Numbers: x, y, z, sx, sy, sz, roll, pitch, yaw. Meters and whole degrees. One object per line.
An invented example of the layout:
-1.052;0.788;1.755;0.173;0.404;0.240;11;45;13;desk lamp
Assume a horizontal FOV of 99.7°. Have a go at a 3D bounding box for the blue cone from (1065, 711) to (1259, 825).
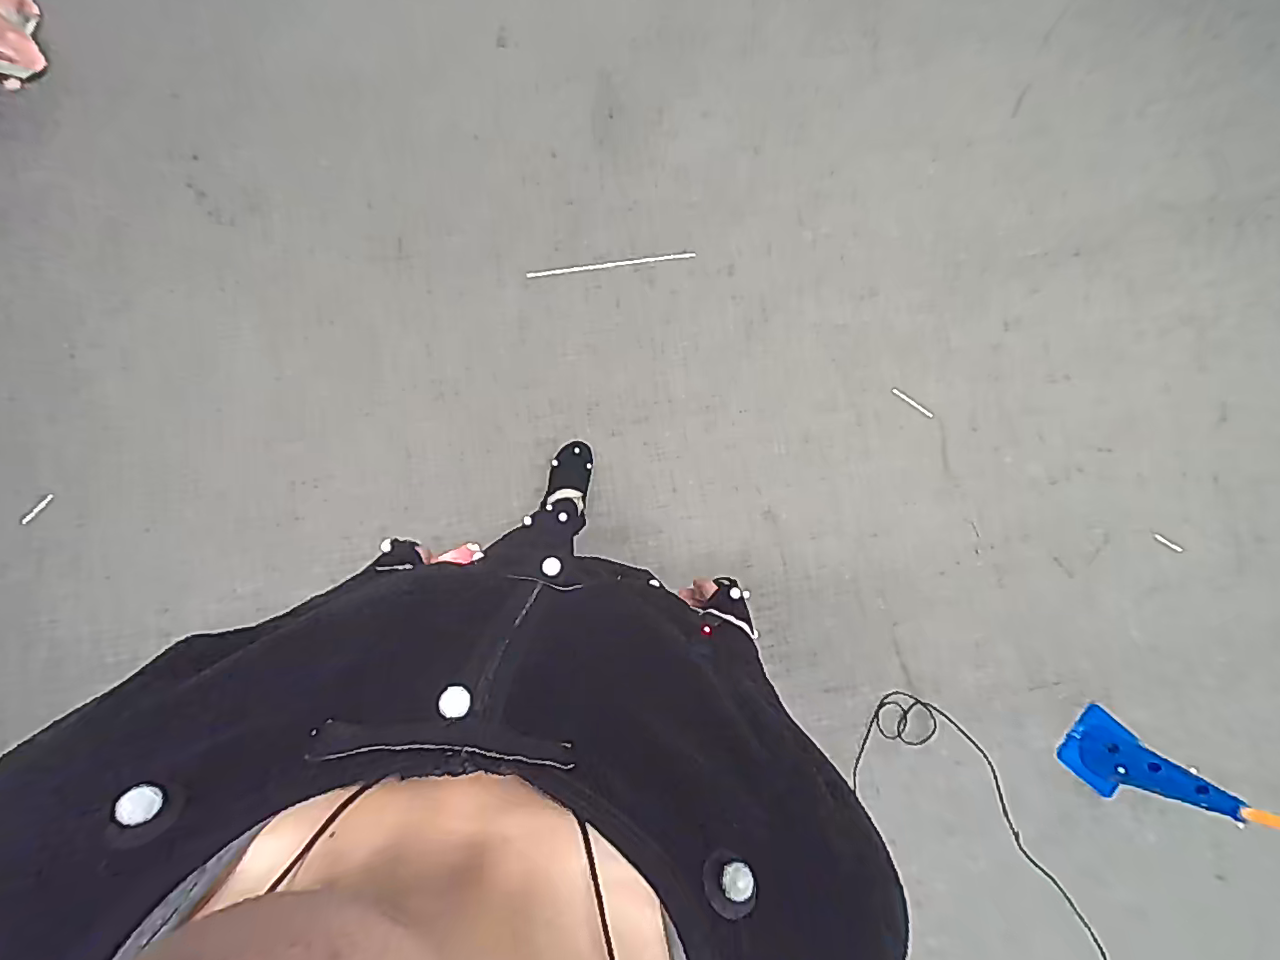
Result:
1.334;0.763;1.382;0.192;0.380;0.193;39;82;0;blue cone
